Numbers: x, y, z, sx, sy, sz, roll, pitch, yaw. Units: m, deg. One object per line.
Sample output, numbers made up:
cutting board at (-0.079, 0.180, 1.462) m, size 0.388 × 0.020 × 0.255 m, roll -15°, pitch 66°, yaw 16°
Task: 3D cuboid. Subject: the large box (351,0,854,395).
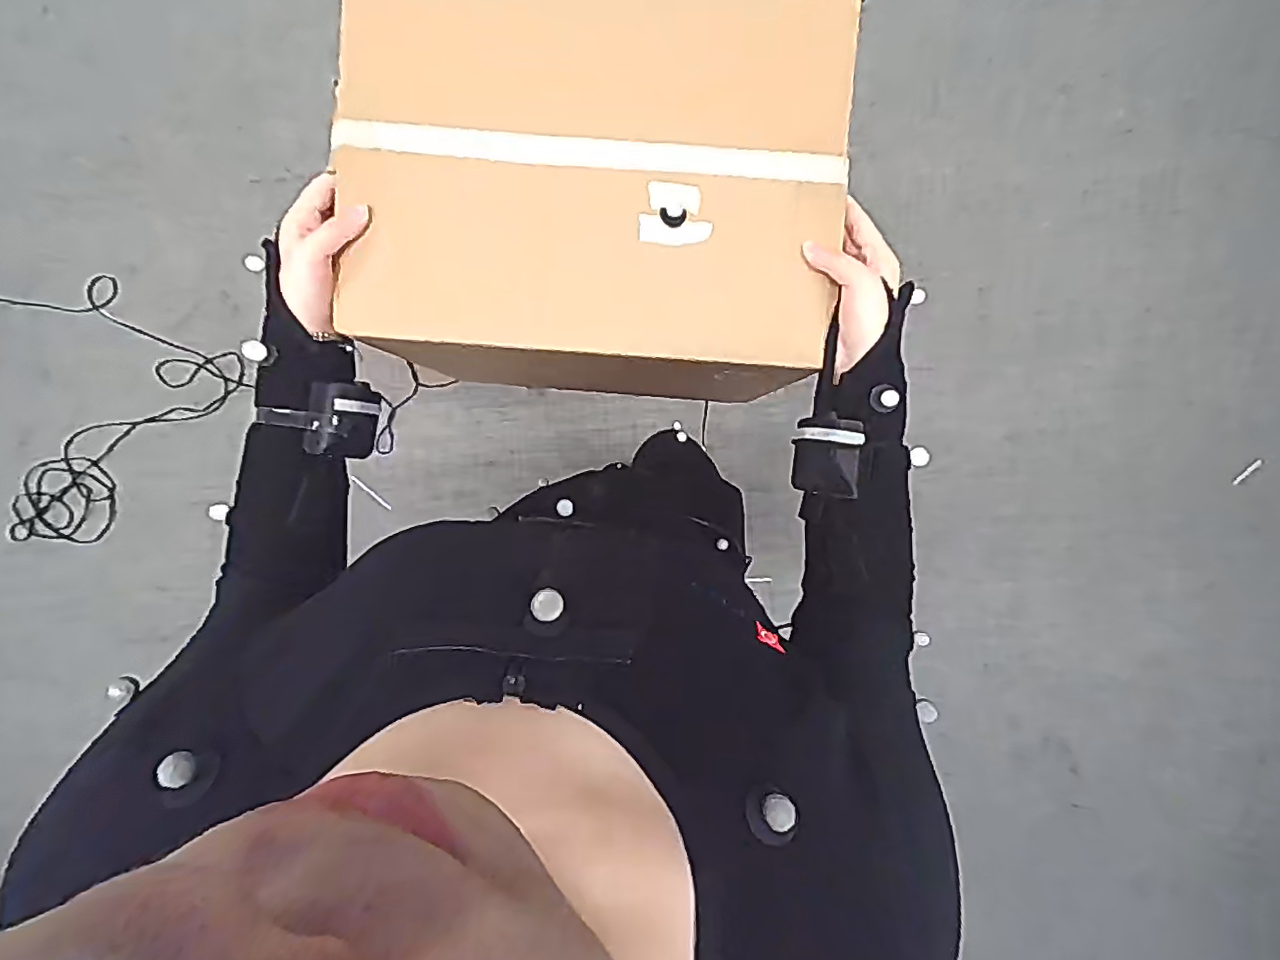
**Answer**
large box at (-0.037, -0.272, 0.588) m, size 0.408 × 0.320 × 0.320 m, roll 4°, pitch 94°, yaw -2°
